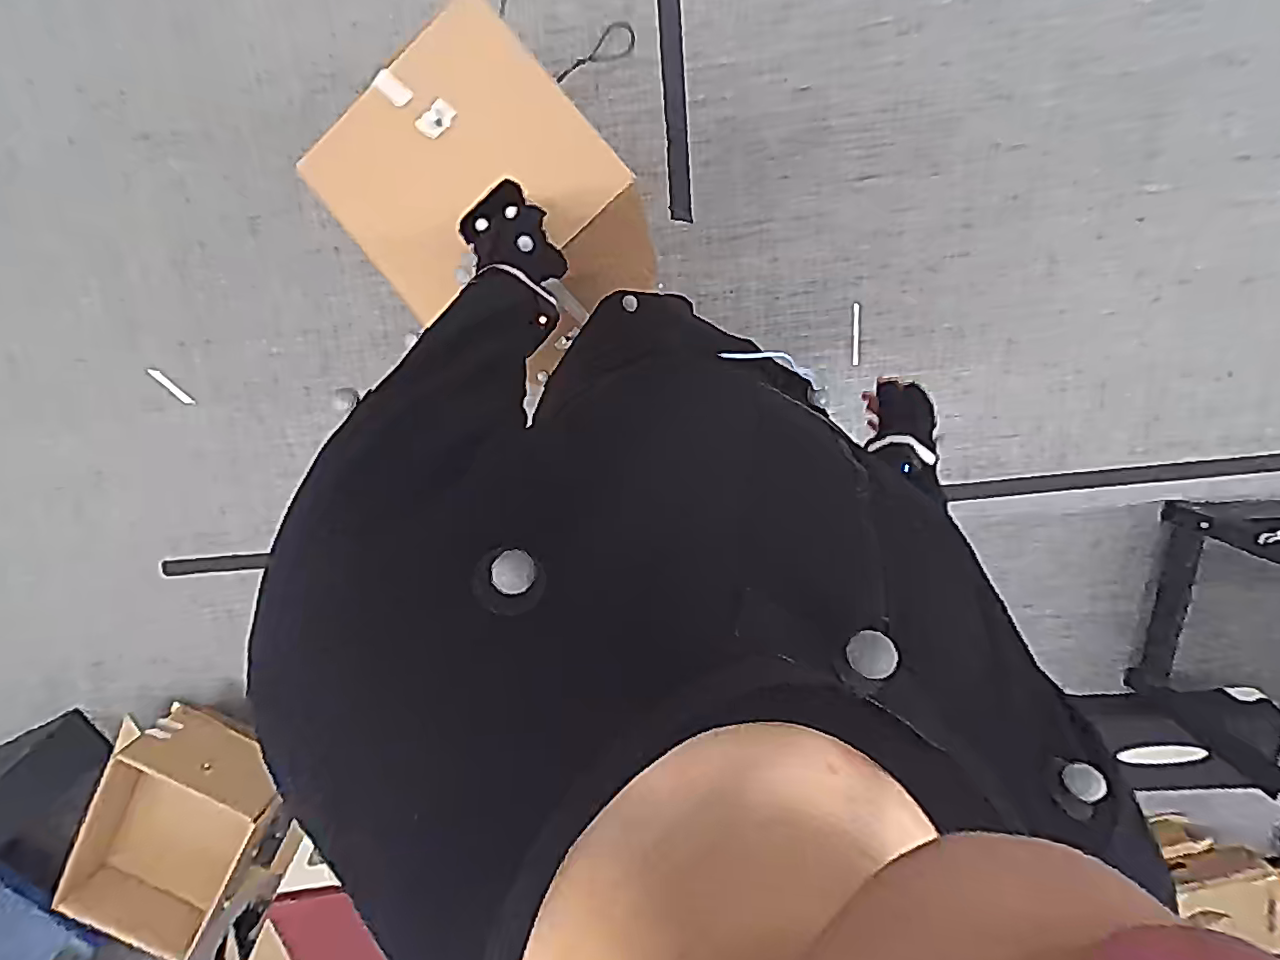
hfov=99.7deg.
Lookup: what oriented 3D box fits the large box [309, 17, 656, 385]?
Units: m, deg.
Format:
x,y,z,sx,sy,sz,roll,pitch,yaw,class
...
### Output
x,y,z,sx,sy,sz,roll,pitch,yaw,class
-0.203,-0.380,0.867,0.320,0.408,0.320,-41,90,8,large box
